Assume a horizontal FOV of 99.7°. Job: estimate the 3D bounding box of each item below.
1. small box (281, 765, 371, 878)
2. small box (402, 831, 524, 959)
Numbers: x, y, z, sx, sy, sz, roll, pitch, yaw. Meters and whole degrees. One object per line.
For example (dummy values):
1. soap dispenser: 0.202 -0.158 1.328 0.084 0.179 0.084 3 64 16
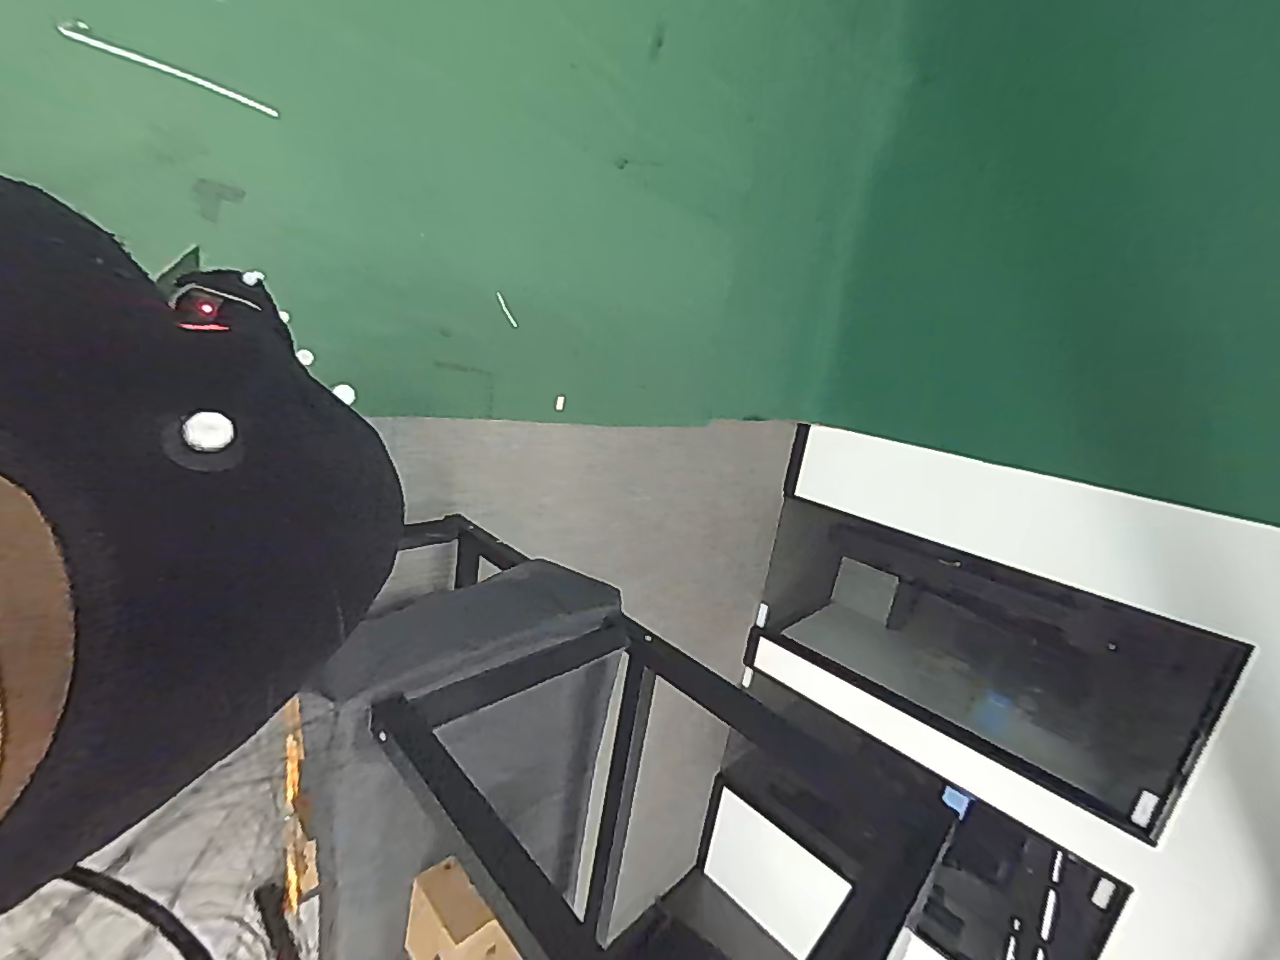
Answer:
1. small box: -0.886 0.947 1.518 0.179 0.176 0.168 -2 108 -48
2. small box: -0.359 0.852 1.088 0.168 0.176 0.179 -2 108 -48
